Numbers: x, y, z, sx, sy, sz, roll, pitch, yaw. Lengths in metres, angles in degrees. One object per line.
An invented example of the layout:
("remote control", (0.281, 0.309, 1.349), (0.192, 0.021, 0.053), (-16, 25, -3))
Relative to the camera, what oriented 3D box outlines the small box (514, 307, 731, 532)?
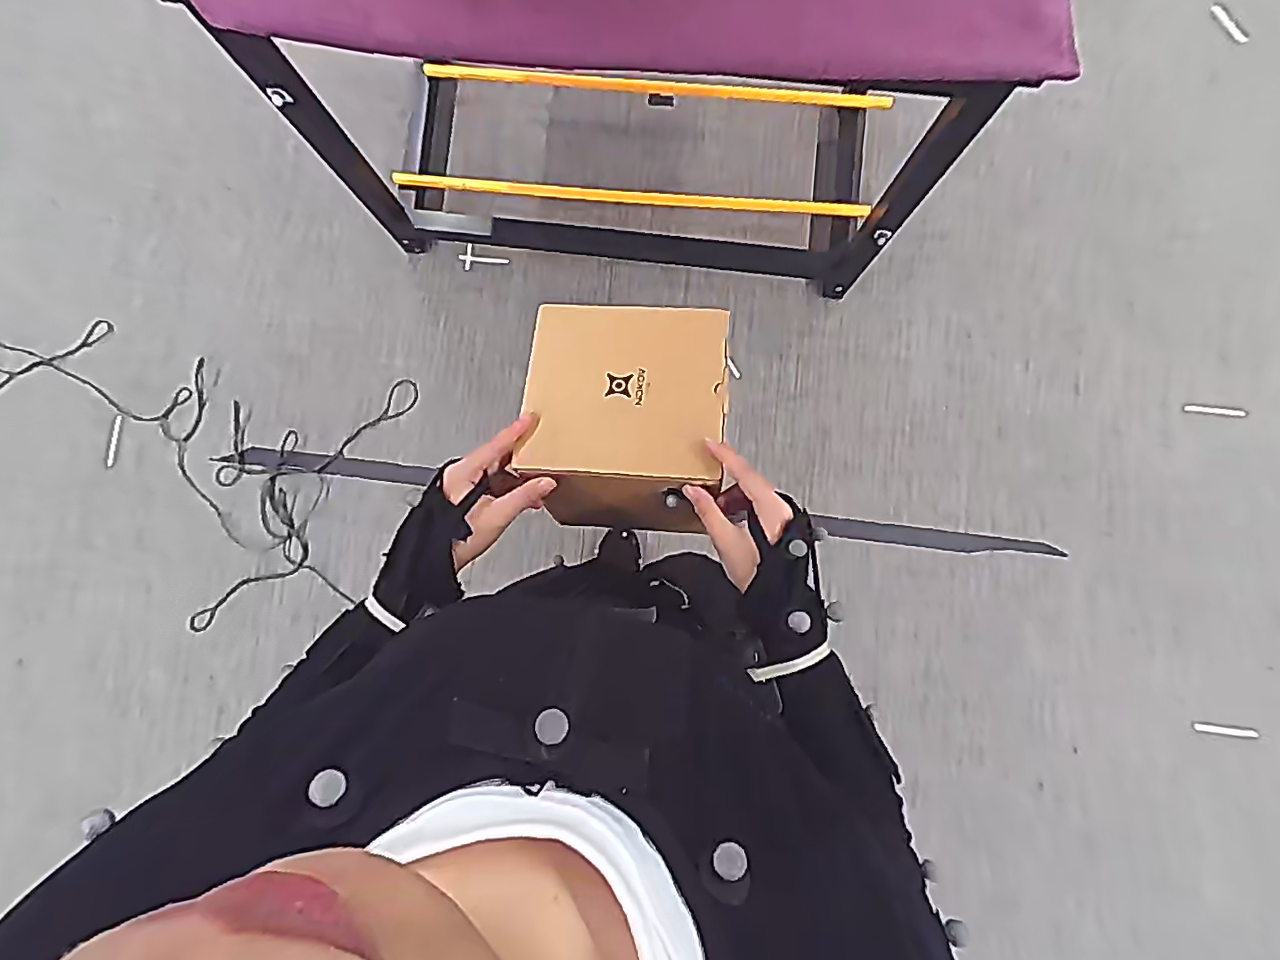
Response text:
("small box", (-0.005, -0.051, 0.539), (0.179, 0.176, 0.168), (3, 70, 6))
